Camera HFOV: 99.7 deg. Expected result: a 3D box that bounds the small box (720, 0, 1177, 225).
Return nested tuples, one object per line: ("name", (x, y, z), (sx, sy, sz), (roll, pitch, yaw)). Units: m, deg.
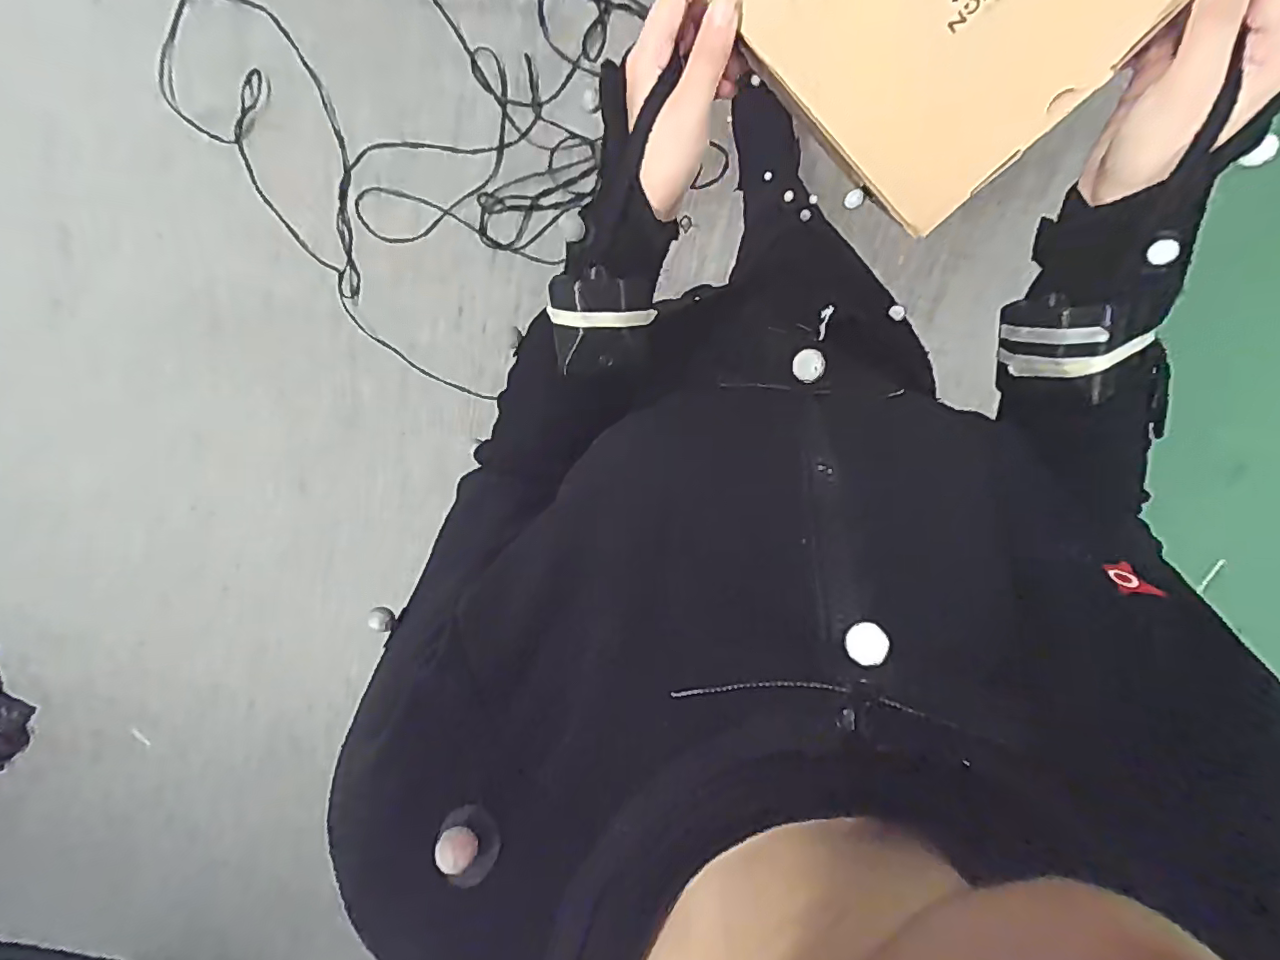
("small box", (0.159, -0.287, 0.311), (0.179, 0.176, 0.168), (35, 124, -18))
